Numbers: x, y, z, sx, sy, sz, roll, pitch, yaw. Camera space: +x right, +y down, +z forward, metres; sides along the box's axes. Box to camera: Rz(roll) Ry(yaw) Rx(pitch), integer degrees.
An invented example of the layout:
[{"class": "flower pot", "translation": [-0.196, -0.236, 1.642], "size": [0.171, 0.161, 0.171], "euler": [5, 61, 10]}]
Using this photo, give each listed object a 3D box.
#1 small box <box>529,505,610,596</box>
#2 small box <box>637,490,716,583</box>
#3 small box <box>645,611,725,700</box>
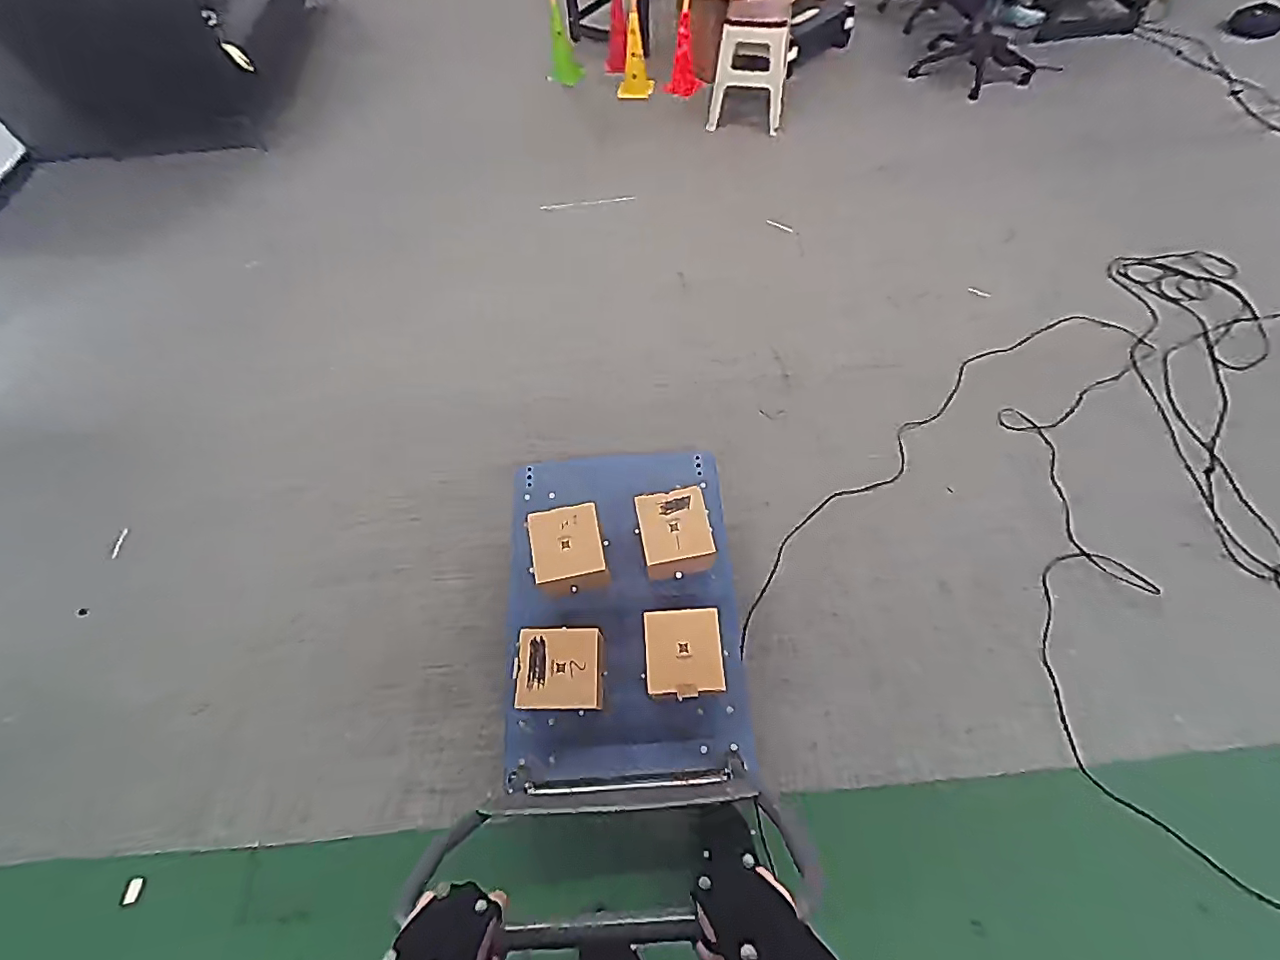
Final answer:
[{"class": "small box", "translation": [-0.172, 0.184, 1.350], "size": [0.168, 0.176, 0.179], "euler": [-10, 66, -4]}, {"class": "small box", "translation": [0.085, 0.145, 1.360], "size": [0.168, 0.176, 0.179], "euler": [-10, 66, -2]}, {"class": "small box", "translation": [0.096, 0.408, 1.244], "size": [0.168, 0.176, 0.179], "euler": [-3, 67, 0]}]
